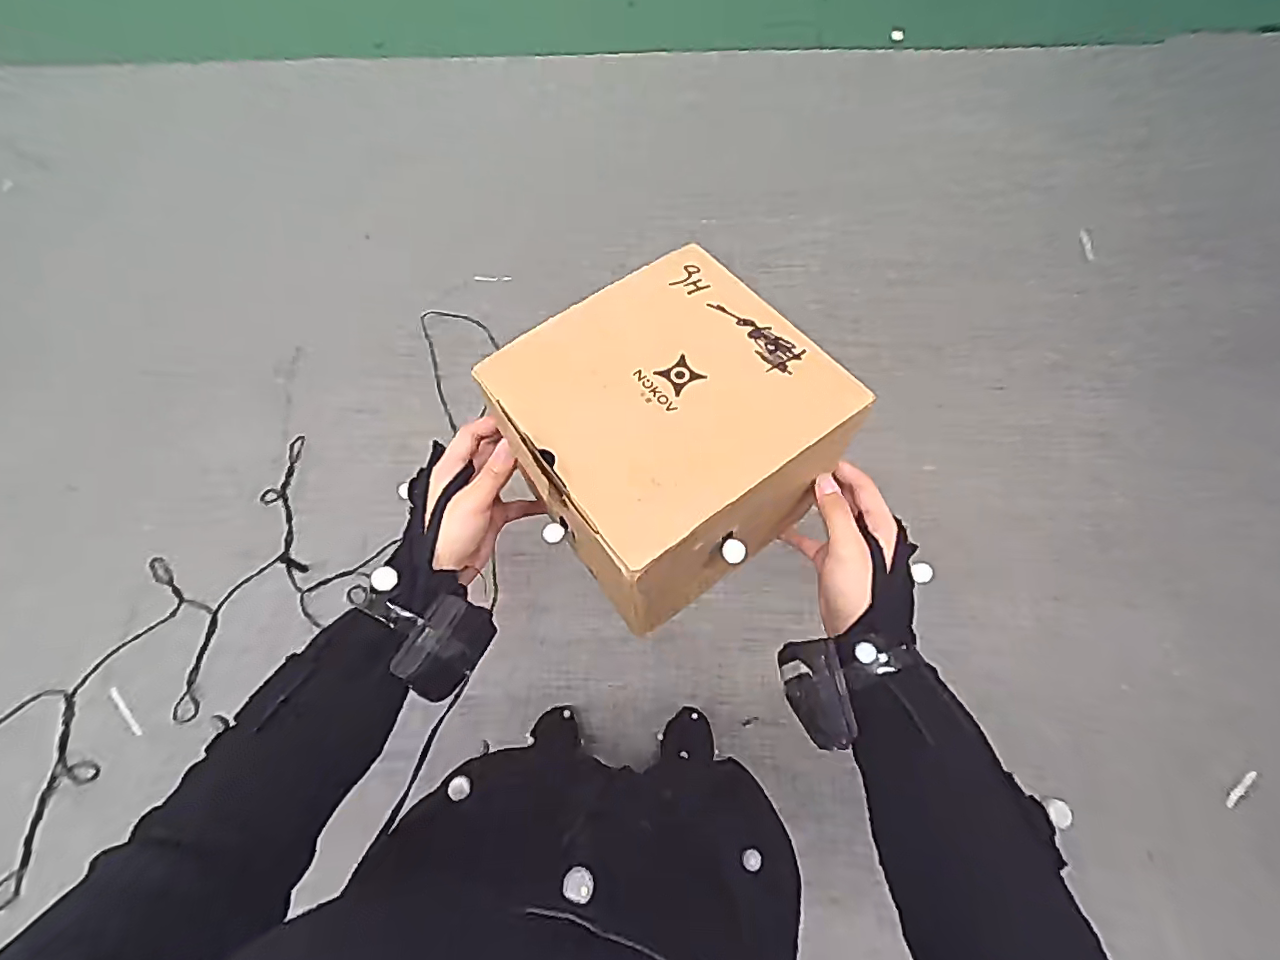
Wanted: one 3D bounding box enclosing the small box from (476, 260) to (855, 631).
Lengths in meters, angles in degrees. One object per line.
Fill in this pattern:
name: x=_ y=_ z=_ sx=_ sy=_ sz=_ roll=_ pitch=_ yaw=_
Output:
small box: x=0.017 y=-0.014 z=0.397 sx=0.179 sy=0.176 sz=0.168 roll=-35 pitch=67 yaw=-14
